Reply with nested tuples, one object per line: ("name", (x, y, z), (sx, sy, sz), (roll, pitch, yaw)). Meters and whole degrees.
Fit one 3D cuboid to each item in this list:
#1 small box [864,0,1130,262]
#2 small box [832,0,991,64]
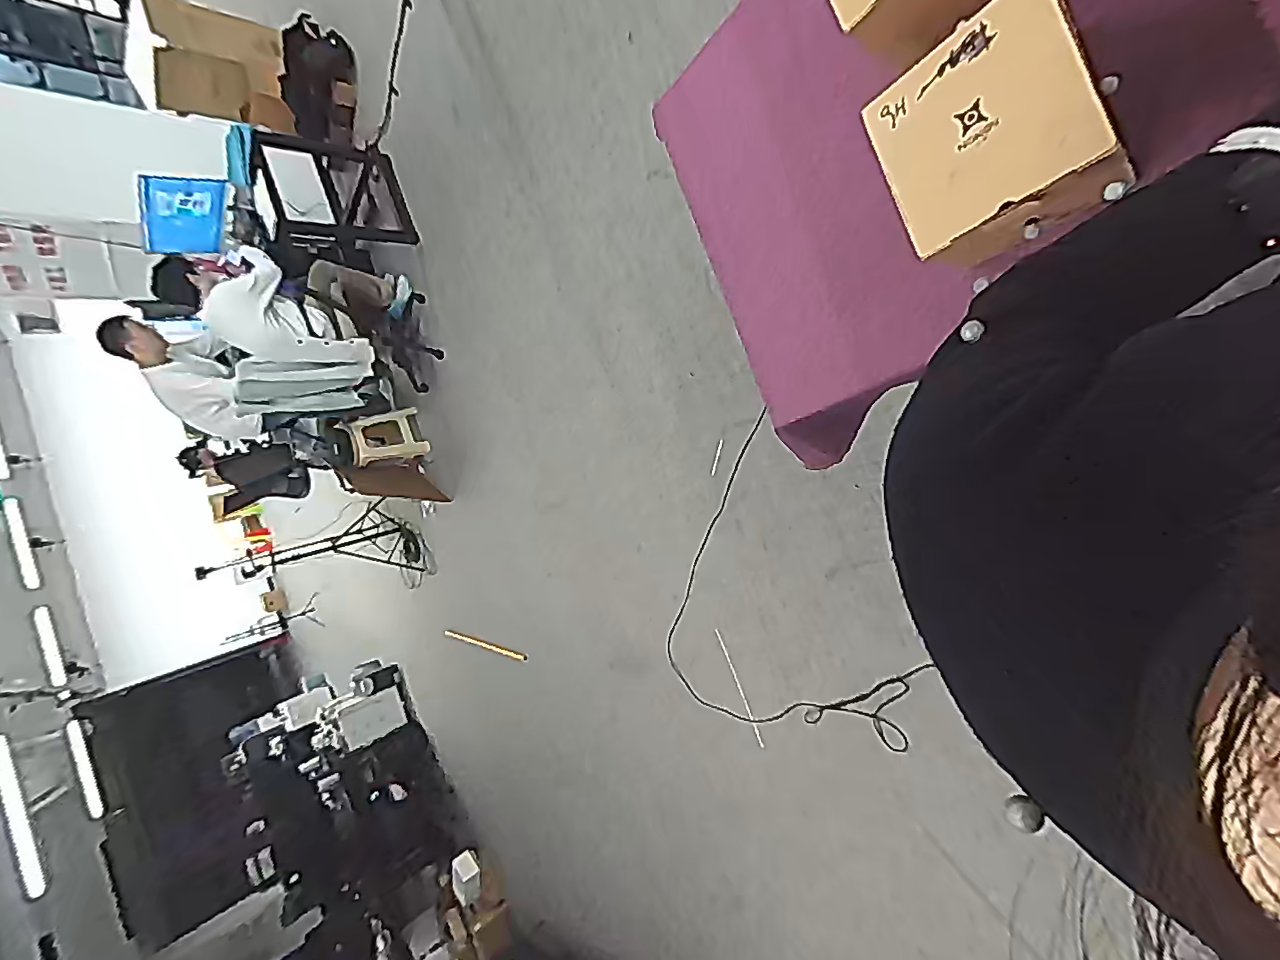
("small box", (0.373, -0.349, 0.564), (0.168, 0.176, 0.179), (-24, 85, 47))
("small box", (0.297, -0.589, 0.571), (0.168, 0.176, 0.179), (-24, 84, 47))
